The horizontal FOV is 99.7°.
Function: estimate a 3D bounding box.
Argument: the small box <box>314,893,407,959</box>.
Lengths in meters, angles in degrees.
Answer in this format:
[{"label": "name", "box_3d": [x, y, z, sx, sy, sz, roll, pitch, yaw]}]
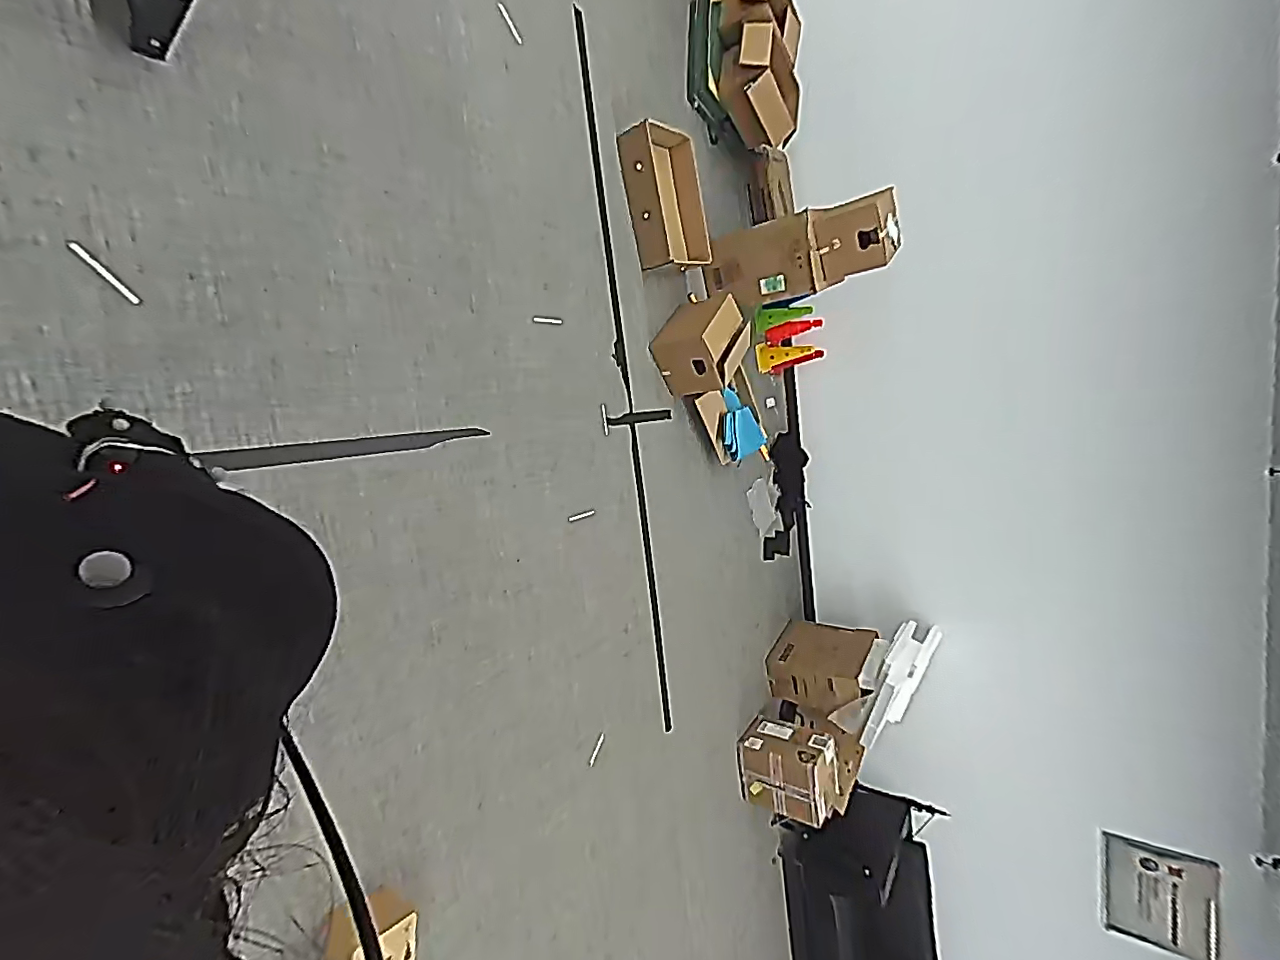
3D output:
[{"label": "small box", "box_3d": [-0.748, 1.259, 1.439, 0.179, 0.176, 0.168, 5, 85, -53]}]
